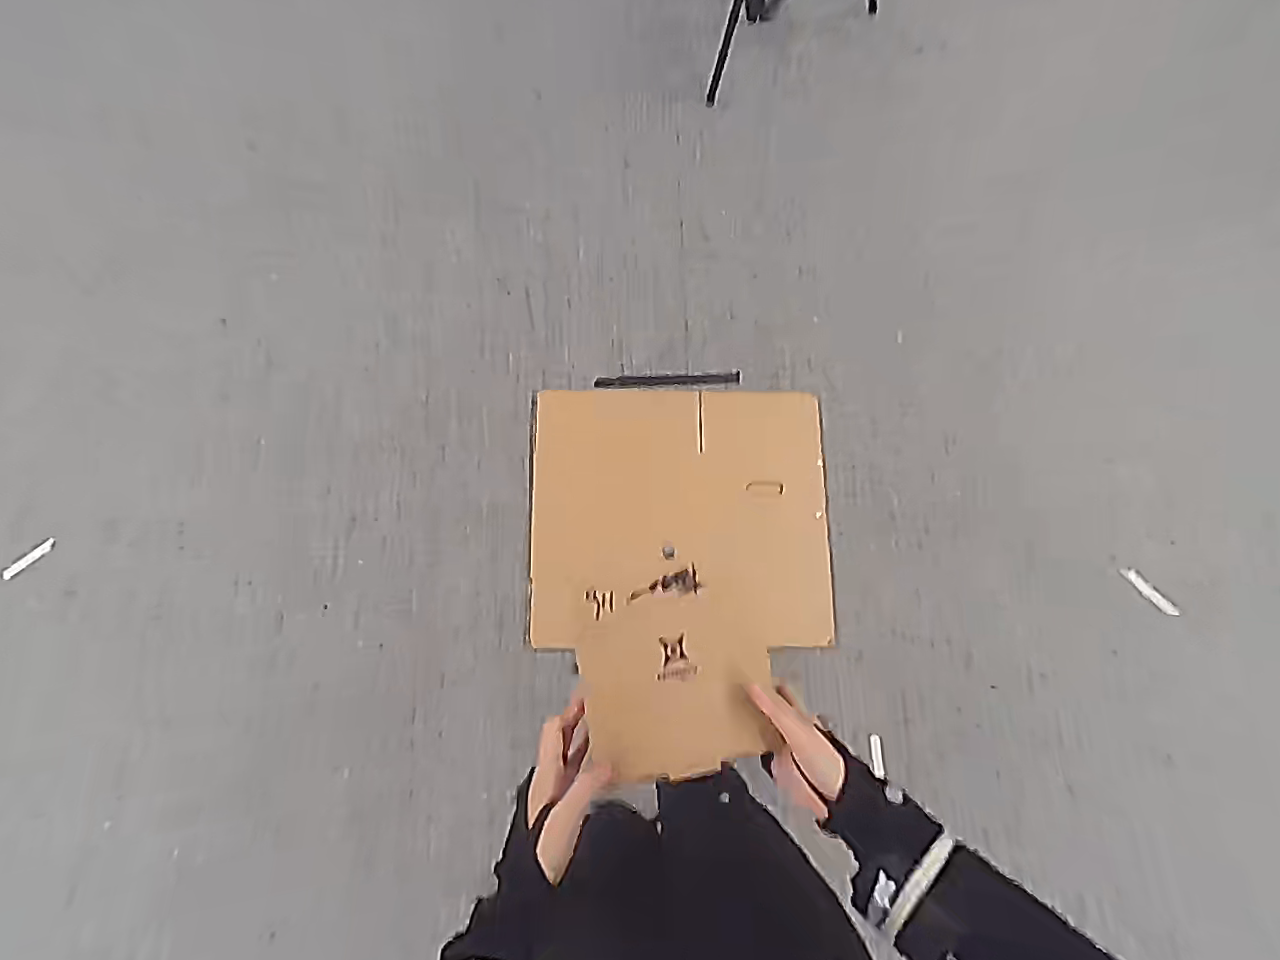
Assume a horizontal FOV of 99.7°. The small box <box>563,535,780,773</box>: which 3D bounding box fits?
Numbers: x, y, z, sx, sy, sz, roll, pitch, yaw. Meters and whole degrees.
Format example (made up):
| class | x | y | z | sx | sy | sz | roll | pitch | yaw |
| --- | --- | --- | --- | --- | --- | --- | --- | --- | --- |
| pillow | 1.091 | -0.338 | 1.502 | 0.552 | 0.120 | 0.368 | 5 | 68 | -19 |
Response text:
| class | x | y | z | sx | sy | sz | roll | pitch | yaw |
| --- | --- | --- | --- | --- | --- | --- | --- | --- | --- |
| small box | 0.018 | 0.160 | 0.544 | 0.168 | 0.176 | 0.179 | -9 | 79 | -9 |
